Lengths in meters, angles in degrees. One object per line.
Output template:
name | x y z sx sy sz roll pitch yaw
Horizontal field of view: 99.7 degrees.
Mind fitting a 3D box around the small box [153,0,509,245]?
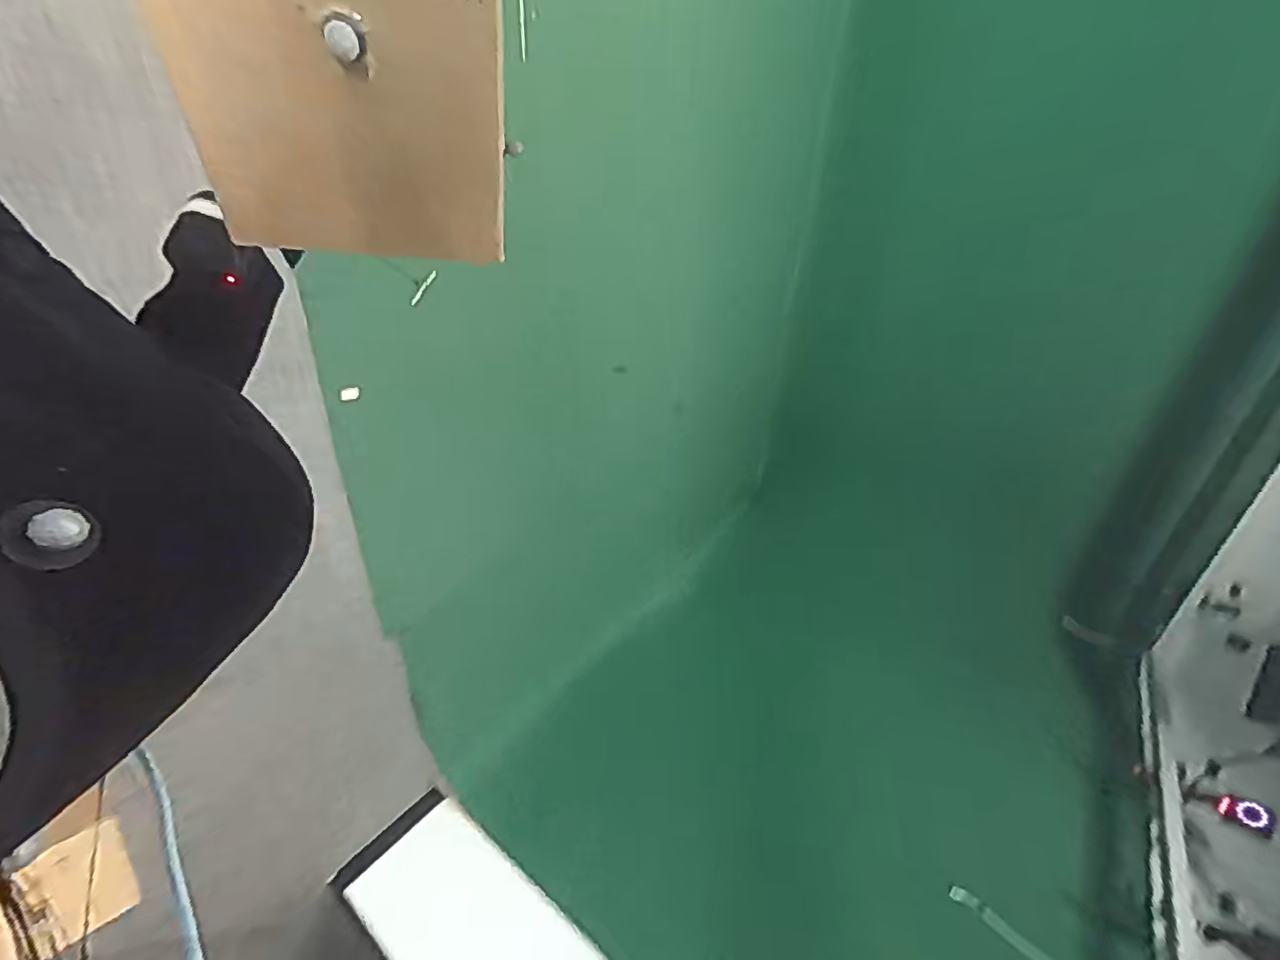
small box | -0.172 -0.277 0.346 0.168 0.179 0.176 -2 140 -12

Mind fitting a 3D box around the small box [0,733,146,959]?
small box | -0.786 0.478 0.705 0.168 0.176 0.179 -19 124 -50
